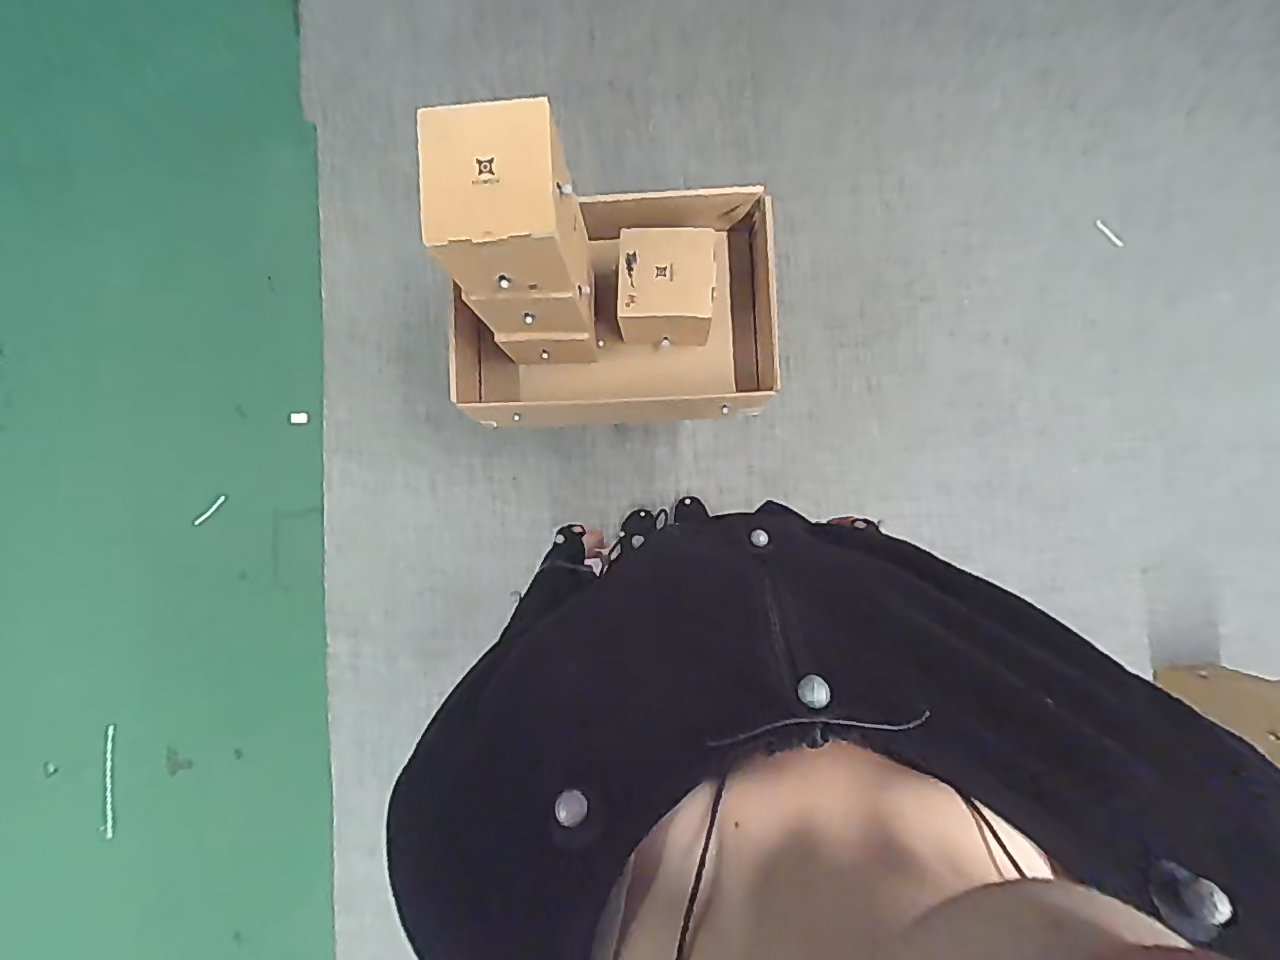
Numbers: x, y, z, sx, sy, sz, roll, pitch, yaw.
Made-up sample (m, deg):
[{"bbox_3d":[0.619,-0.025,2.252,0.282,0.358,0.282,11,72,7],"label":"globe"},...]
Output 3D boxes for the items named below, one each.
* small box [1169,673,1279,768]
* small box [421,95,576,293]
[{"bbox_3d":[1.474,0.587,1.341,0.168,0.176,0.179,-4,86,3],"label":"small box"},{"bbox_3d":[-0.182,-0.376,0.736,0.168,0.176,0.179,-4,87,2],"label":"small box"}]
